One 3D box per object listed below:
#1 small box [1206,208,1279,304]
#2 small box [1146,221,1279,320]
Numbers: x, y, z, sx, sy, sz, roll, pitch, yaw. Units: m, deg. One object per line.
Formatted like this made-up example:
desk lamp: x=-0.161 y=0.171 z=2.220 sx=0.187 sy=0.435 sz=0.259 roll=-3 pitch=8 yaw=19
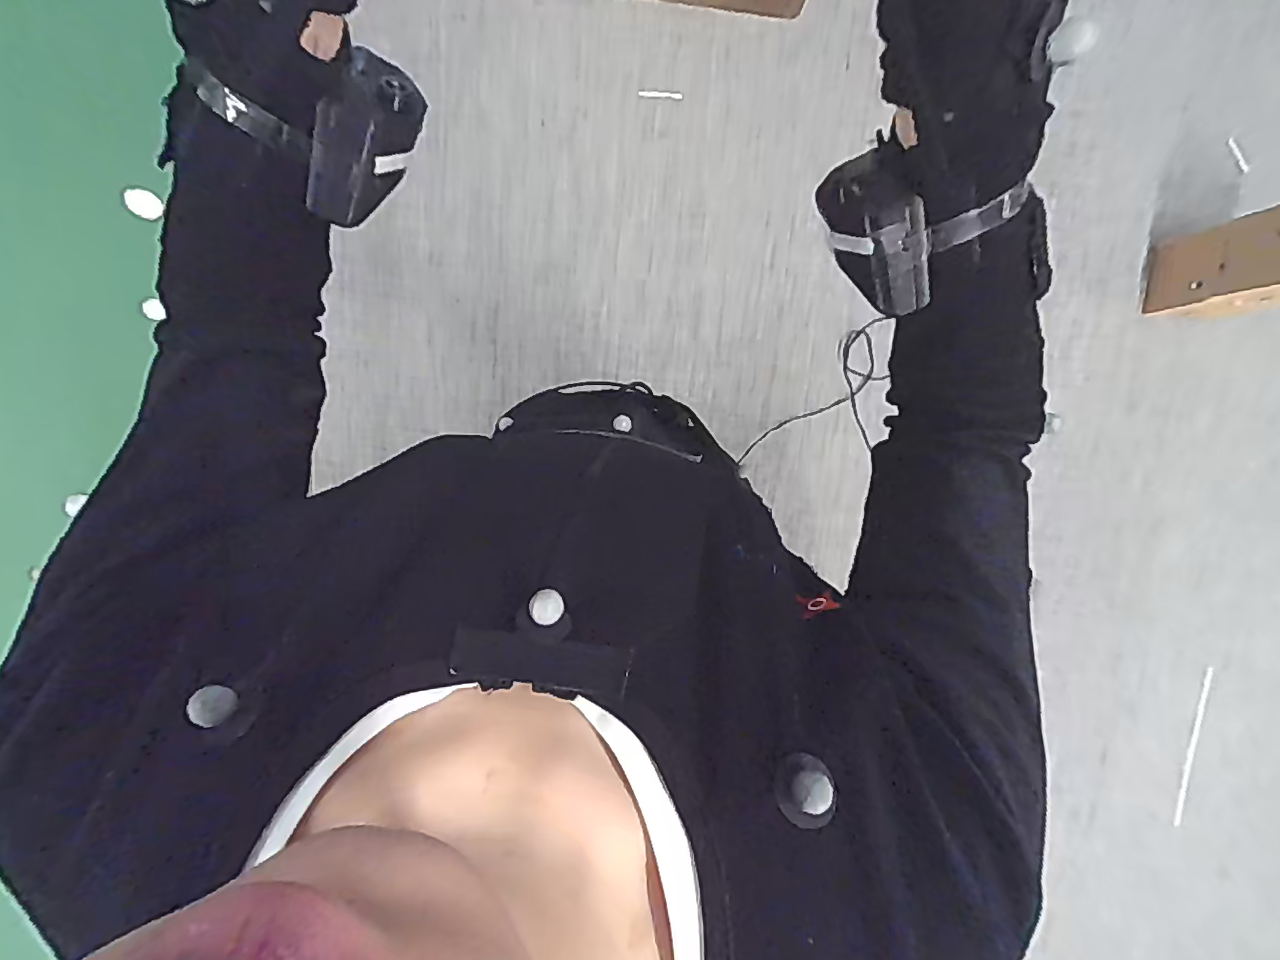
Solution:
small box: x=1.354 y=-0.466 z=1.116 sx=0.179 sy=0.176 sz=0.168 roll=5 pitch=98 yaw=0
small box: x=1.360 y=-0.487 z=1.279 sx=0.168 sy=0.176 sz=0.179 roll=5 pitch=98 yaw=2
